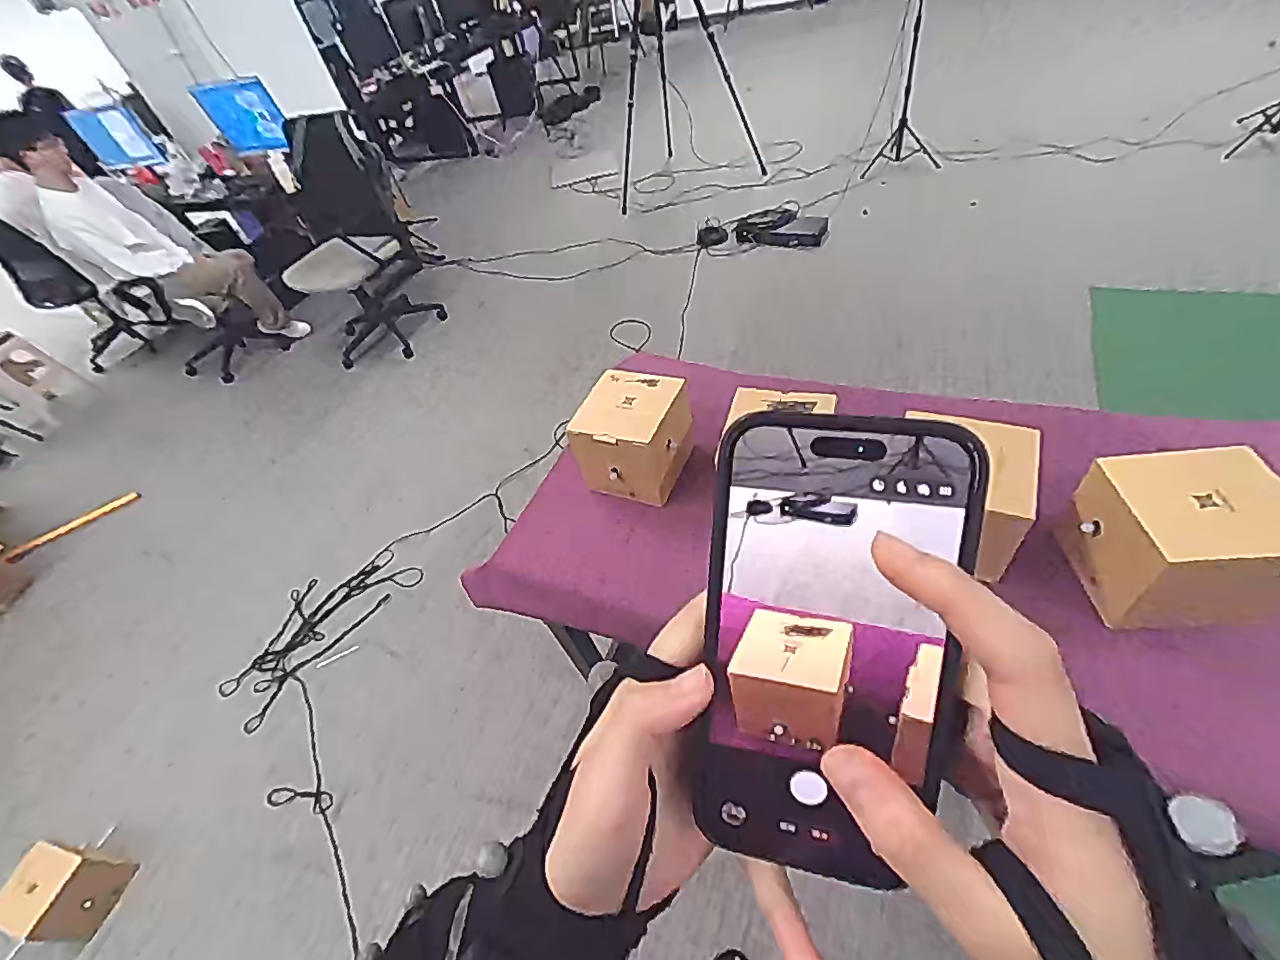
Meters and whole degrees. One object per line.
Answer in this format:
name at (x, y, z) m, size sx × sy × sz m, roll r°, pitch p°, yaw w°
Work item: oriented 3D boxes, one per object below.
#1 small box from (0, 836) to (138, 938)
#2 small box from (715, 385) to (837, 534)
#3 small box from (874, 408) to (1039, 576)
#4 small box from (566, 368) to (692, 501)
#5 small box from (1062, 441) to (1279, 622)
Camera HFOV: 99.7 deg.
small box at (-1.460, 1.037, 1.379) m, size 0.179 × 0.176 × 0.168 m, roll 4°, pitch 51°, yaw 18°
small box at (0.232, -0.036, 0.915) m, size 0.168 × 0.176 × 0.179 m, roll 8°, pitch 52°, yaw 21°
small box at (0.462, 0.019, 0.808) m, size 0.179 × 0.176 × 0.168 m, roll 15°, pitch 55°, yaw 25°
small box at (-0.010, -0.085, 1.021) m, size 0.168 × 0.176 × 0.179 m, roll 12°, pitch 54°, yaw 24°
small box at (0.691, 0.072, 0.700) m, size 0.179 × 0.176 × 0.168 m, roll -5°, pitch 47°, yaw 10°
